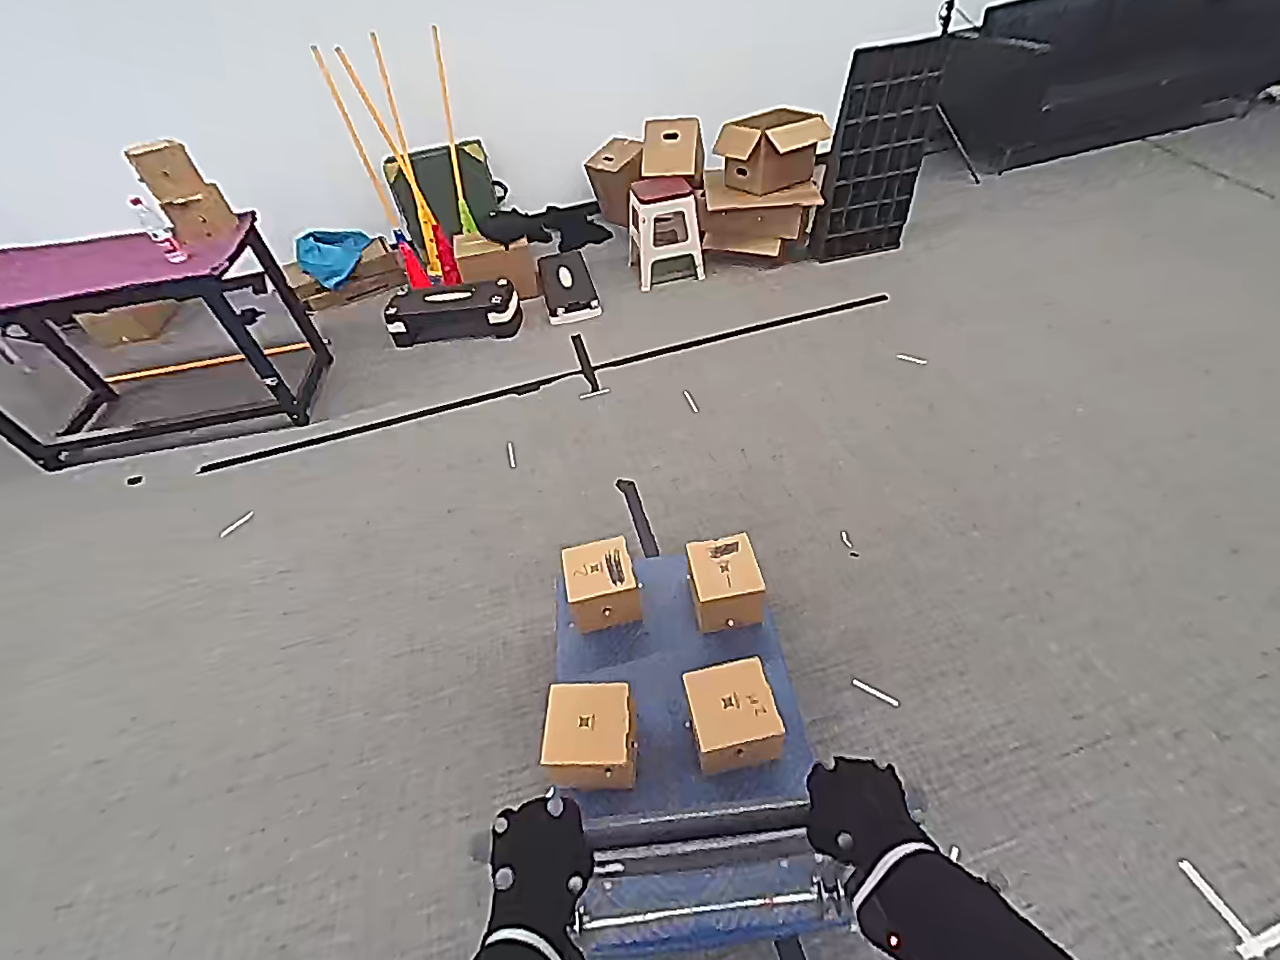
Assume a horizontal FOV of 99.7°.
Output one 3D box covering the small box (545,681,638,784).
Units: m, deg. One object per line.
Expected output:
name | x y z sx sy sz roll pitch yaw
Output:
small box | -0.100 0.561 1.197 0.179 0.176 0.168 -2 47 3

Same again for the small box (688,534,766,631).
small box | 0.222 0.271 1.424 0.168 0.176 0.179 -10 48 -2

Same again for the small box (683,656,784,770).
small box | 0.202 0.519 1.195 0.179 0.176 0.168 -12 47 -3
